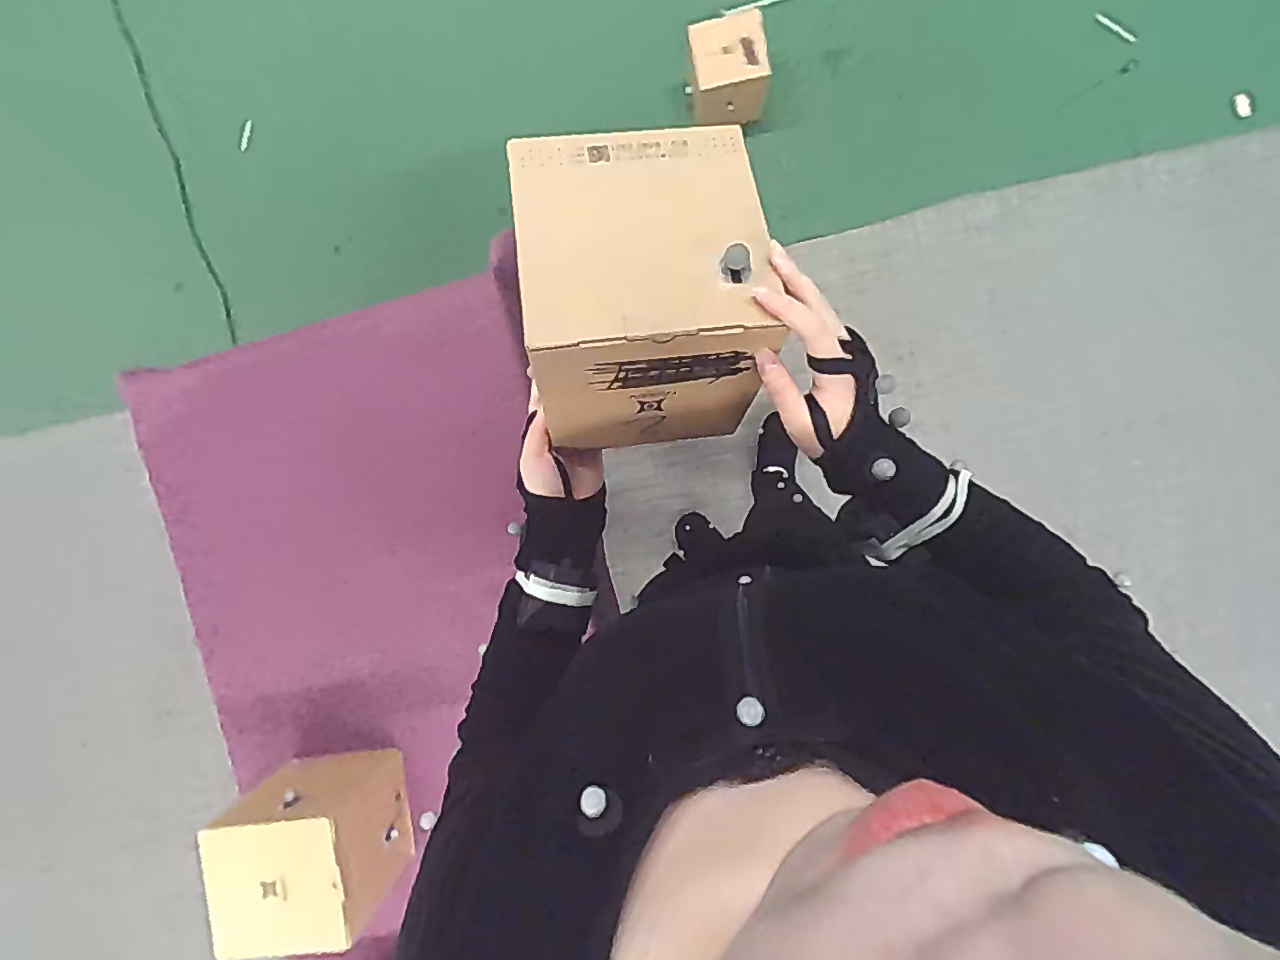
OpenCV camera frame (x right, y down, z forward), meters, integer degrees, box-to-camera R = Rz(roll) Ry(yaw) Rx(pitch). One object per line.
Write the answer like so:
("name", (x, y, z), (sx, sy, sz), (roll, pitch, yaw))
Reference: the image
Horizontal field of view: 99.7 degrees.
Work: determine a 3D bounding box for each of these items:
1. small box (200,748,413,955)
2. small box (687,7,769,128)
("small box", (-0.442, 0.493, 0.741), (0.179, 0.176, 0.168), (-8, 90, 3))
("small box", (0.220, -1.050, 1.390), (0.179, 0.176, 0.168), (-10, 90, 6))
